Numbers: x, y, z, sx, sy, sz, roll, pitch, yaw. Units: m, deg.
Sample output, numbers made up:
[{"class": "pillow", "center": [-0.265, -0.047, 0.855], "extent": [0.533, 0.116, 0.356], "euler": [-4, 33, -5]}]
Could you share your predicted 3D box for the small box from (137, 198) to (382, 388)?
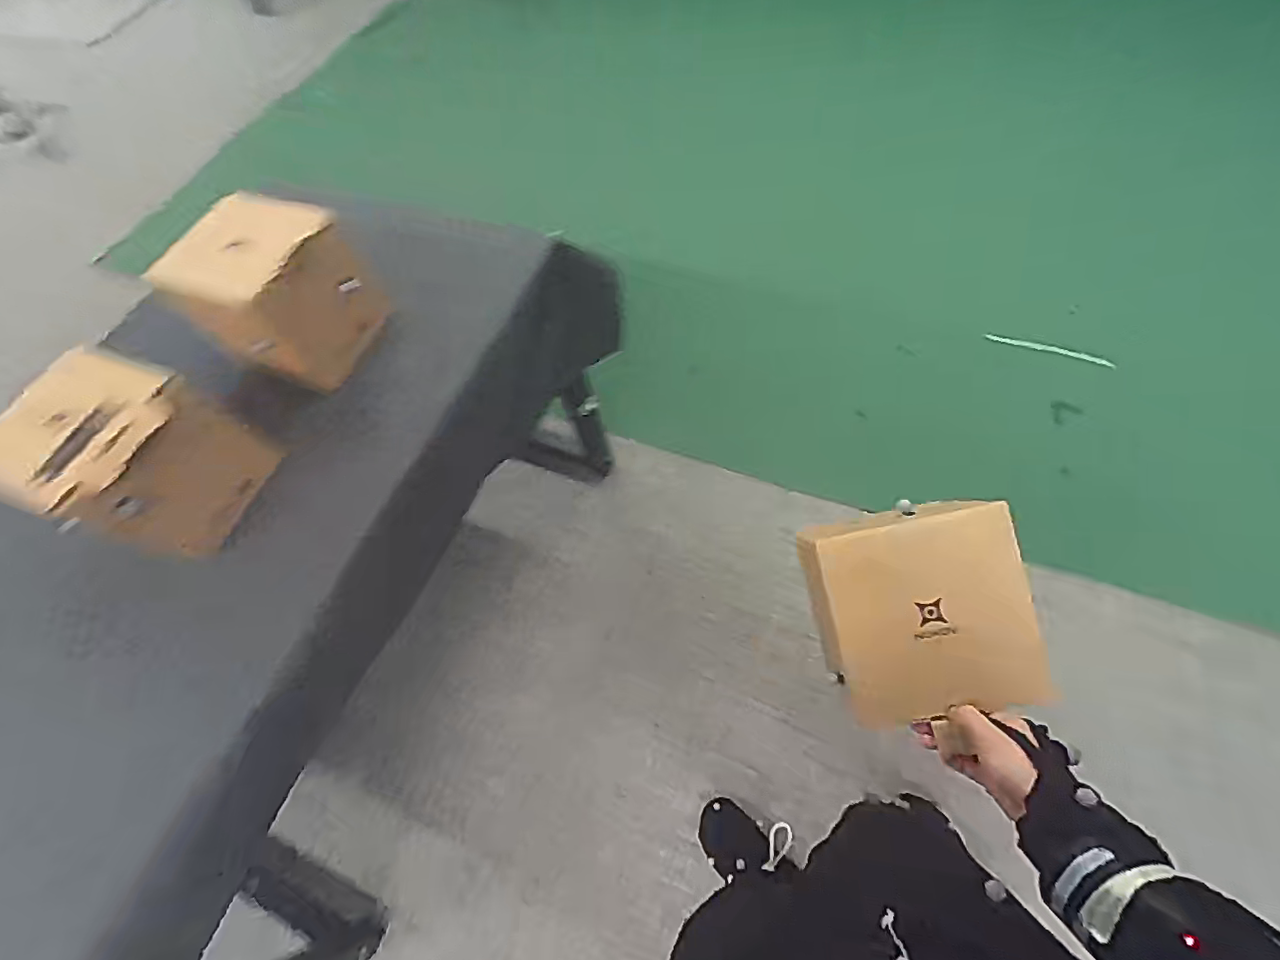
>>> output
[{"class": "small box", "center": [-0.497, -0.247, 0.738], "extent": [0.179, 0.176, 0.168], "euler": [15, 65, 16]}]
